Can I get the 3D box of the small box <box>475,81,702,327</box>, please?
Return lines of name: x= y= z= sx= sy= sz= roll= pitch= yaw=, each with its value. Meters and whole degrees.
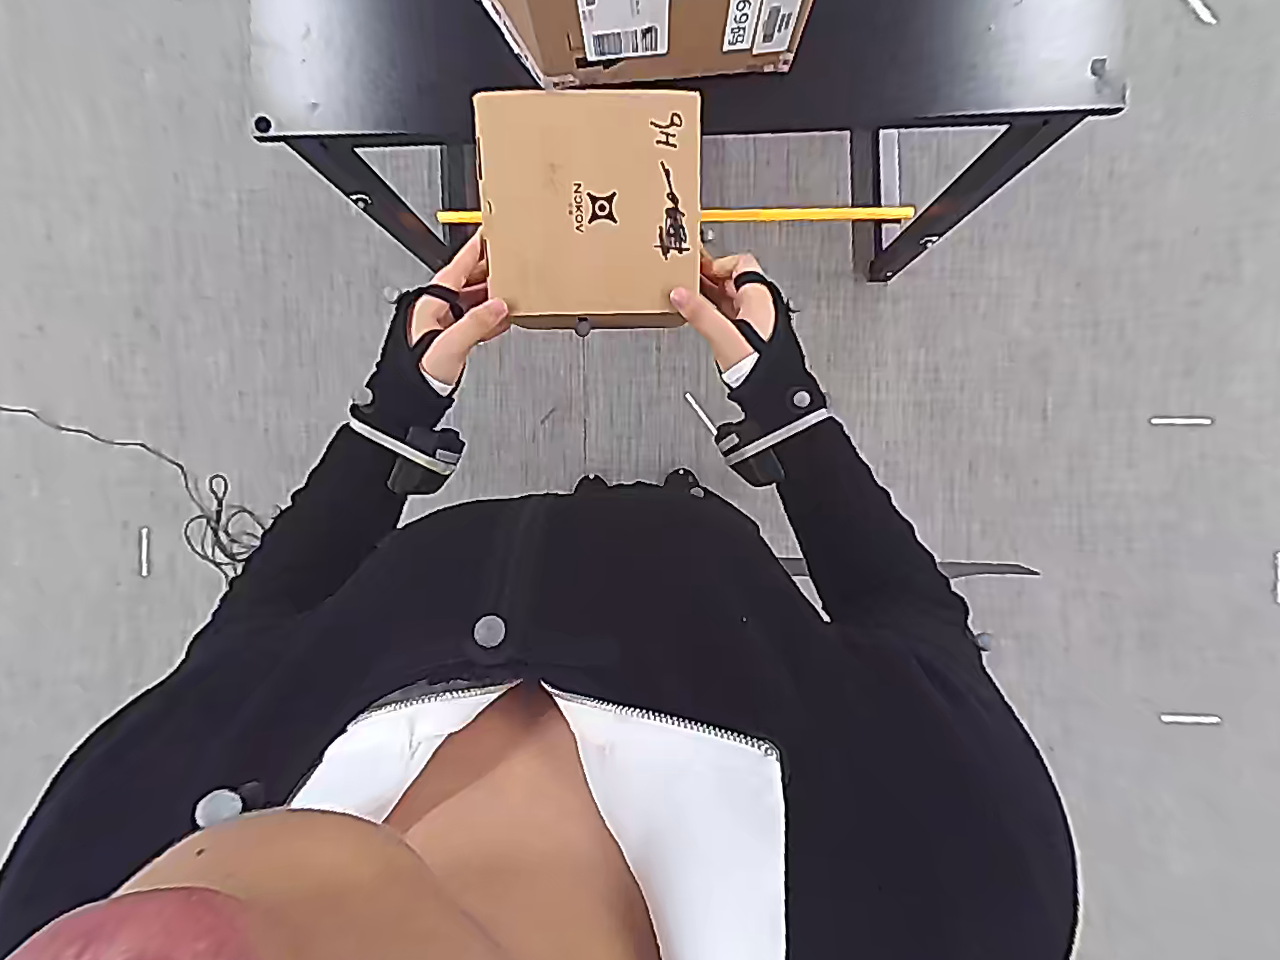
small box: x=-0.040 y=-0.235 z=0.503 sx=0.179 sy=0.176 sz=0.168 roll=-1 pitch=101 yaw=-1
